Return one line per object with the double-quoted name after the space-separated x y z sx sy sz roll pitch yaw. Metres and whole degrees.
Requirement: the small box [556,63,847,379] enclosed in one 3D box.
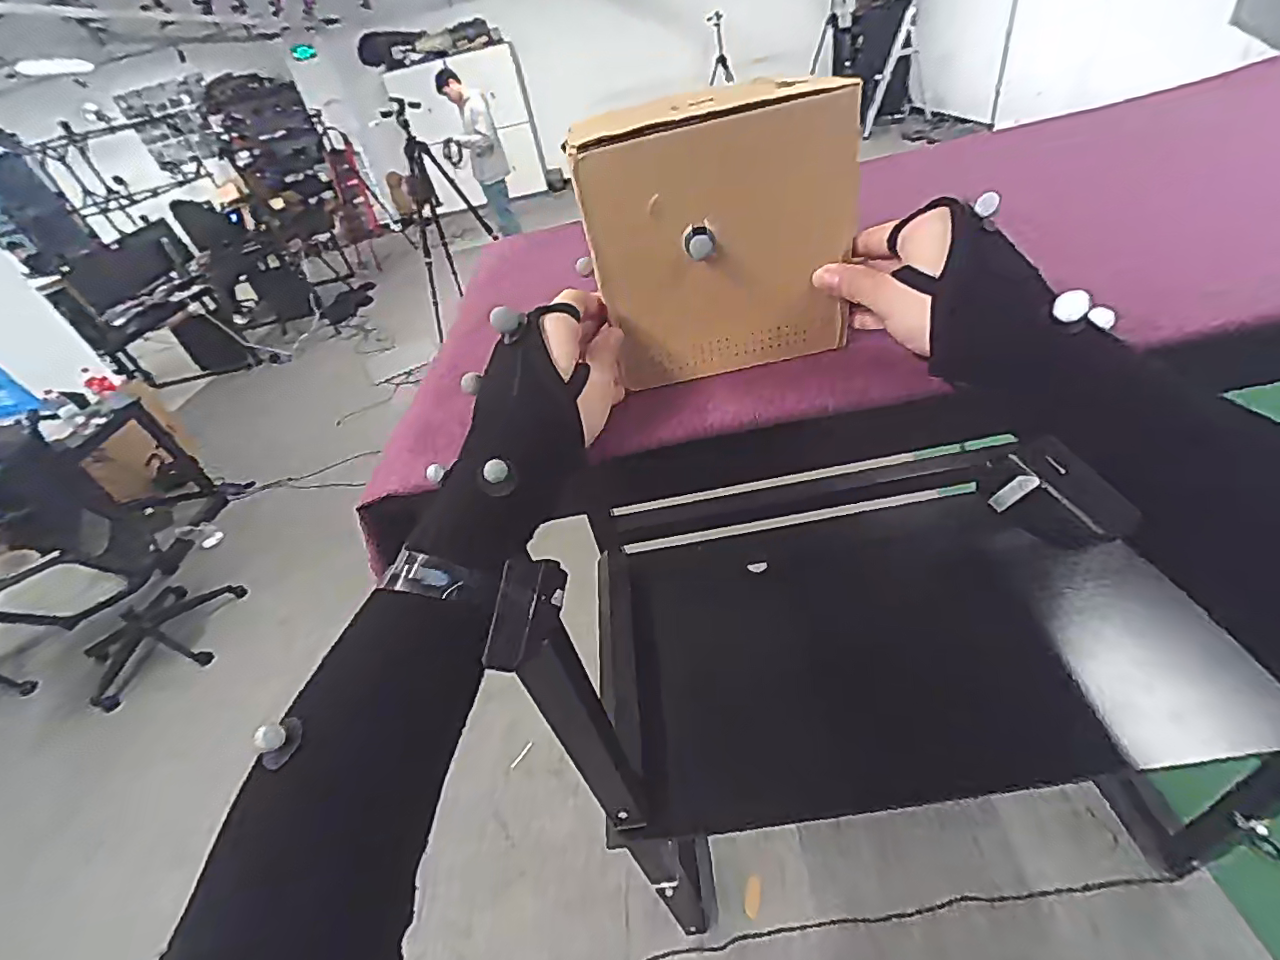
0.047 -0.198 0.420 0.179 0.176 0.168 -13 38 4 "small box"
